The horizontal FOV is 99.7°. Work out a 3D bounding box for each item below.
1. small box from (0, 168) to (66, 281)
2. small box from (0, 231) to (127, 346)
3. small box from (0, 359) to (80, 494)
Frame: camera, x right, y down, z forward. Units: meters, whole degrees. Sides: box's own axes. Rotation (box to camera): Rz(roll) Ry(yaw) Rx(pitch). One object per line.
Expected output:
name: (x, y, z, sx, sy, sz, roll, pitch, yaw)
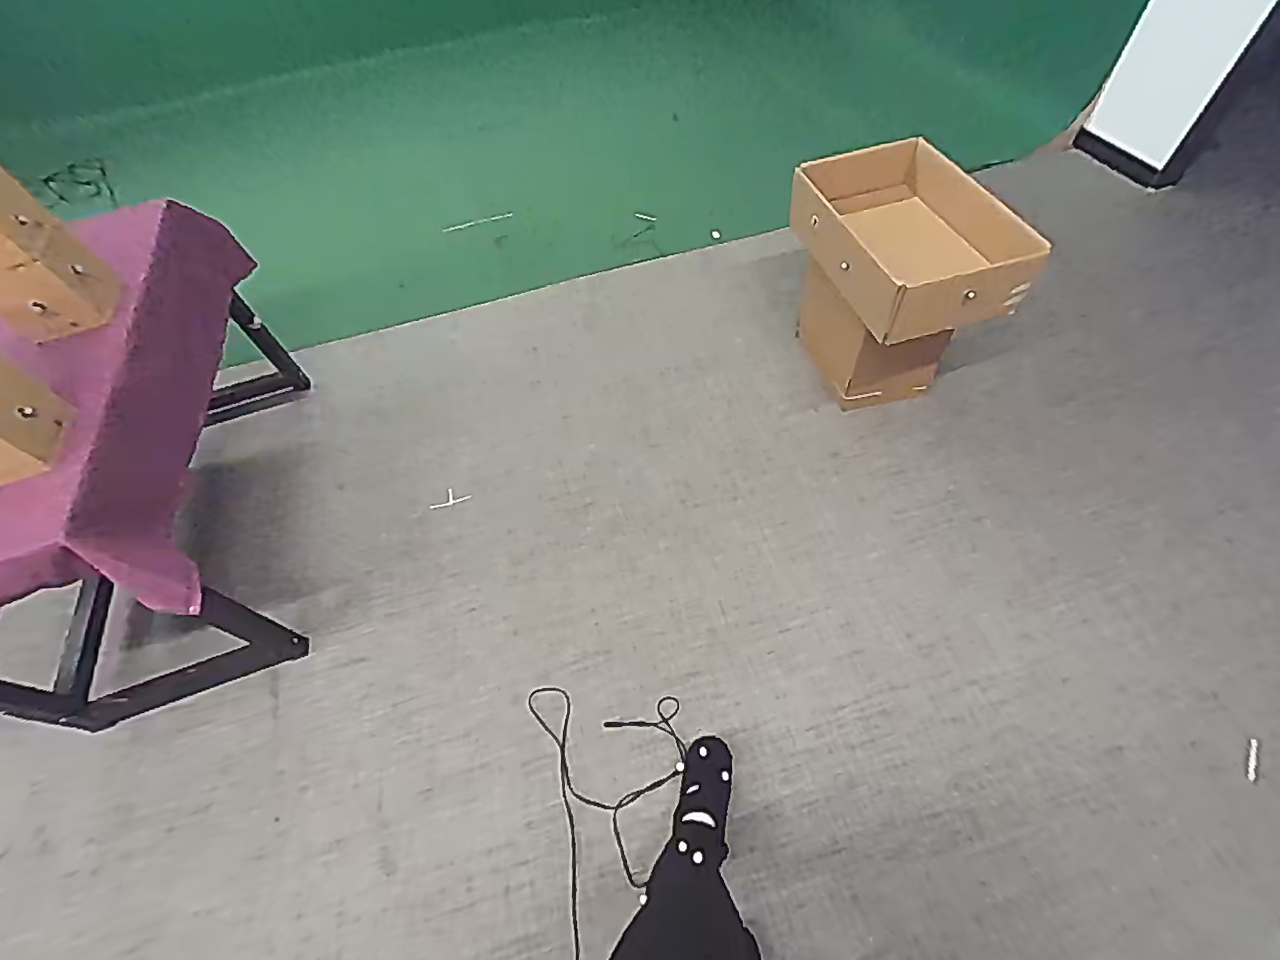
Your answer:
small box: (-1.359, -0.516, 1.101, 0.179, 0.176, 0.168, -18, 55, -6)
small box: (-1.337, -0.429, 1.238, 0.168, 0.176, 0.179, -20, 57, -7)
small box: (-1.199, -0.086, 0.985, 0.179, 0.176, 0.168, -19, 55, -6)
